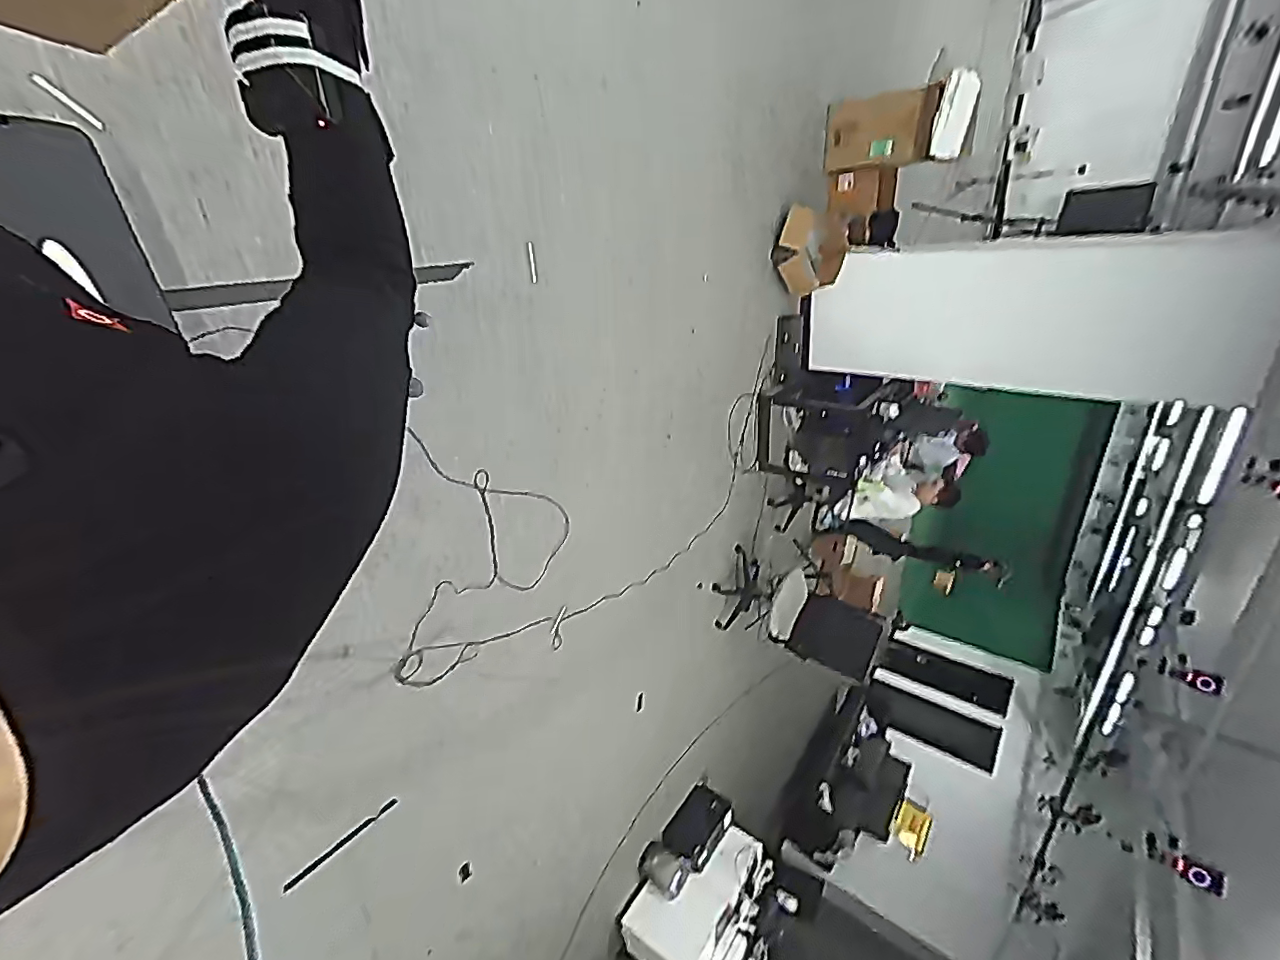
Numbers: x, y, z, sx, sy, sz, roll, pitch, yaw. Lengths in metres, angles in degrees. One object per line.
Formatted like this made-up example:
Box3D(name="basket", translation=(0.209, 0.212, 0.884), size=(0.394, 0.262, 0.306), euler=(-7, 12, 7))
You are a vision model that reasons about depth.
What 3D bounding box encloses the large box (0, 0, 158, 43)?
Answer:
Box3D(name="large box", translation=(-0.493, -0.480, 0.233), size=(0.408, 0.320, 0.320), euler=(-18, 119, -53))
